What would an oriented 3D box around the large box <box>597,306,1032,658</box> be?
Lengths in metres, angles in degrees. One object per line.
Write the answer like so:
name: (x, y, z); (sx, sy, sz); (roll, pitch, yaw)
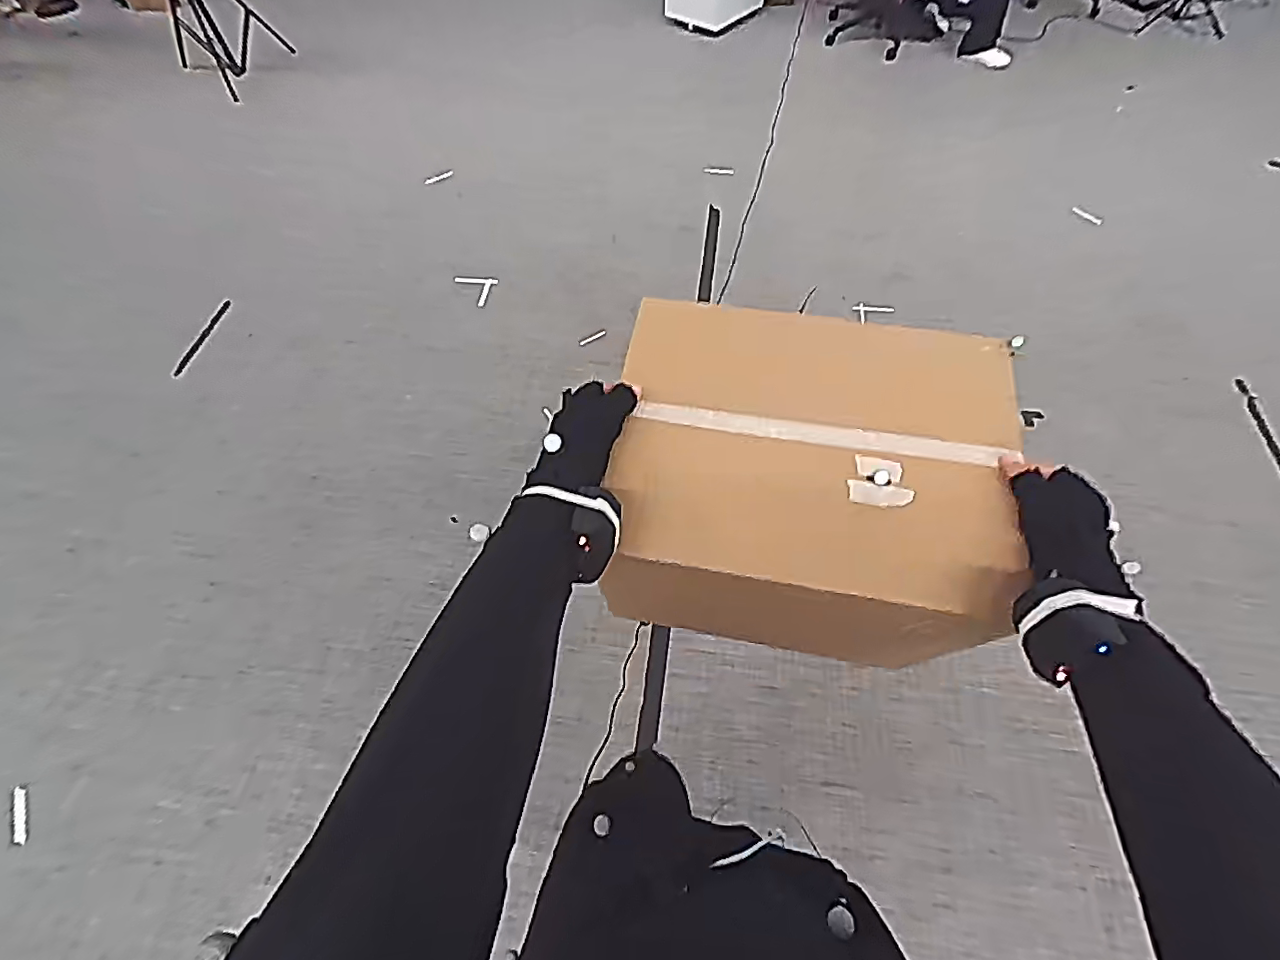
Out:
large box: (0.183, 0.019, 0.692); (0.408, 0.320, 0.320); (9, 66, 7)
